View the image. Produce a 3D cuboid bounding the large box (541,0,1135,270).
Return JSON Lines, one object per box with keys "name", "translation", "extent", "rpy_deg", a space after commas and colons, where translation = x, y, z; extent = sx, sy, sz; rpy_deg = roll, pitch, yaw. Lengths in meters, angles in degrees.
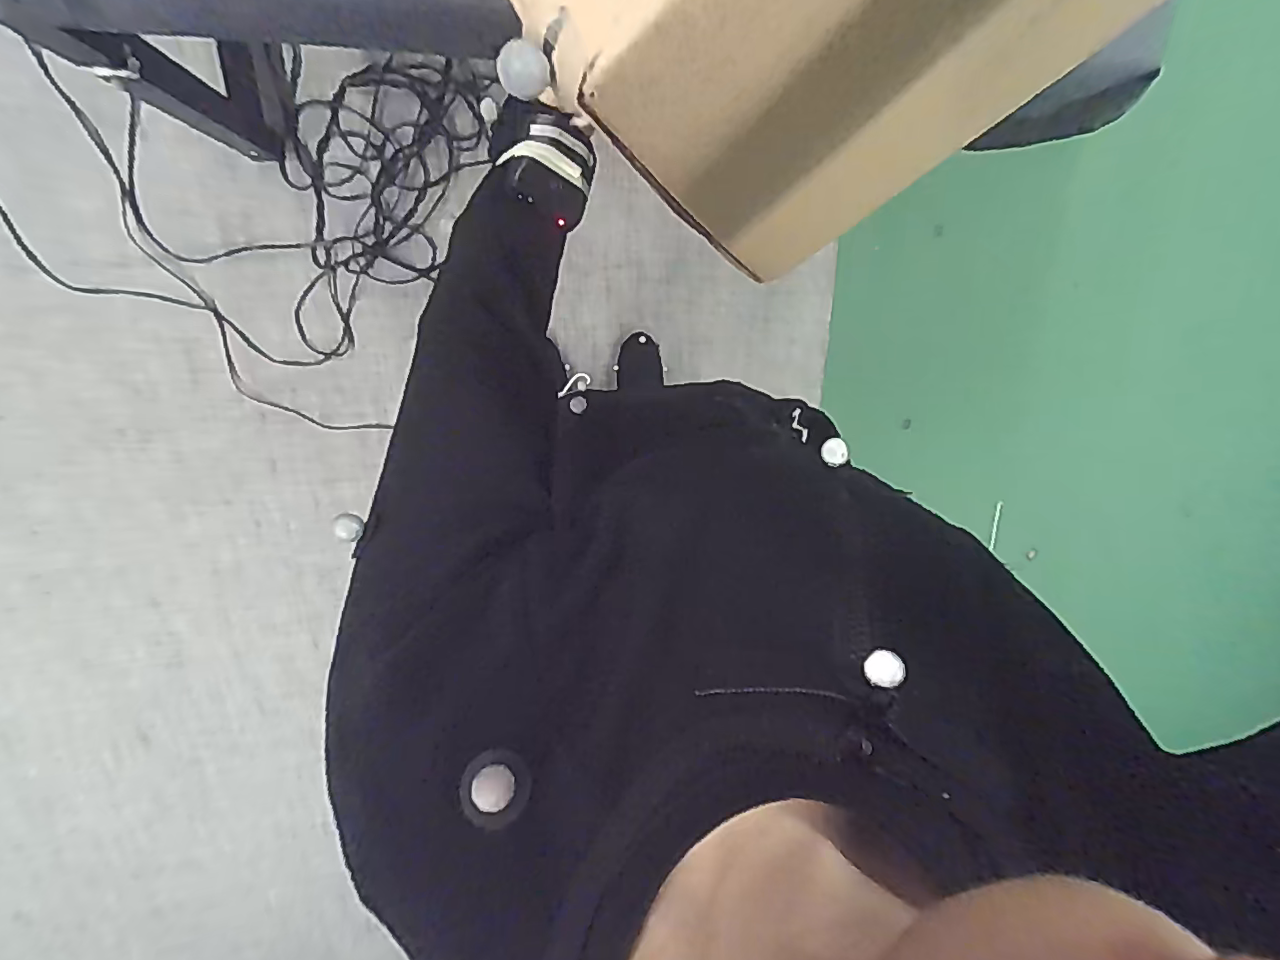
{"name": "large box", "translation": [0.124, -0.362, 0.223], "extent": [0.408, 0.320, 0.320], "rpy_deg": [-33, 86, 25]}
